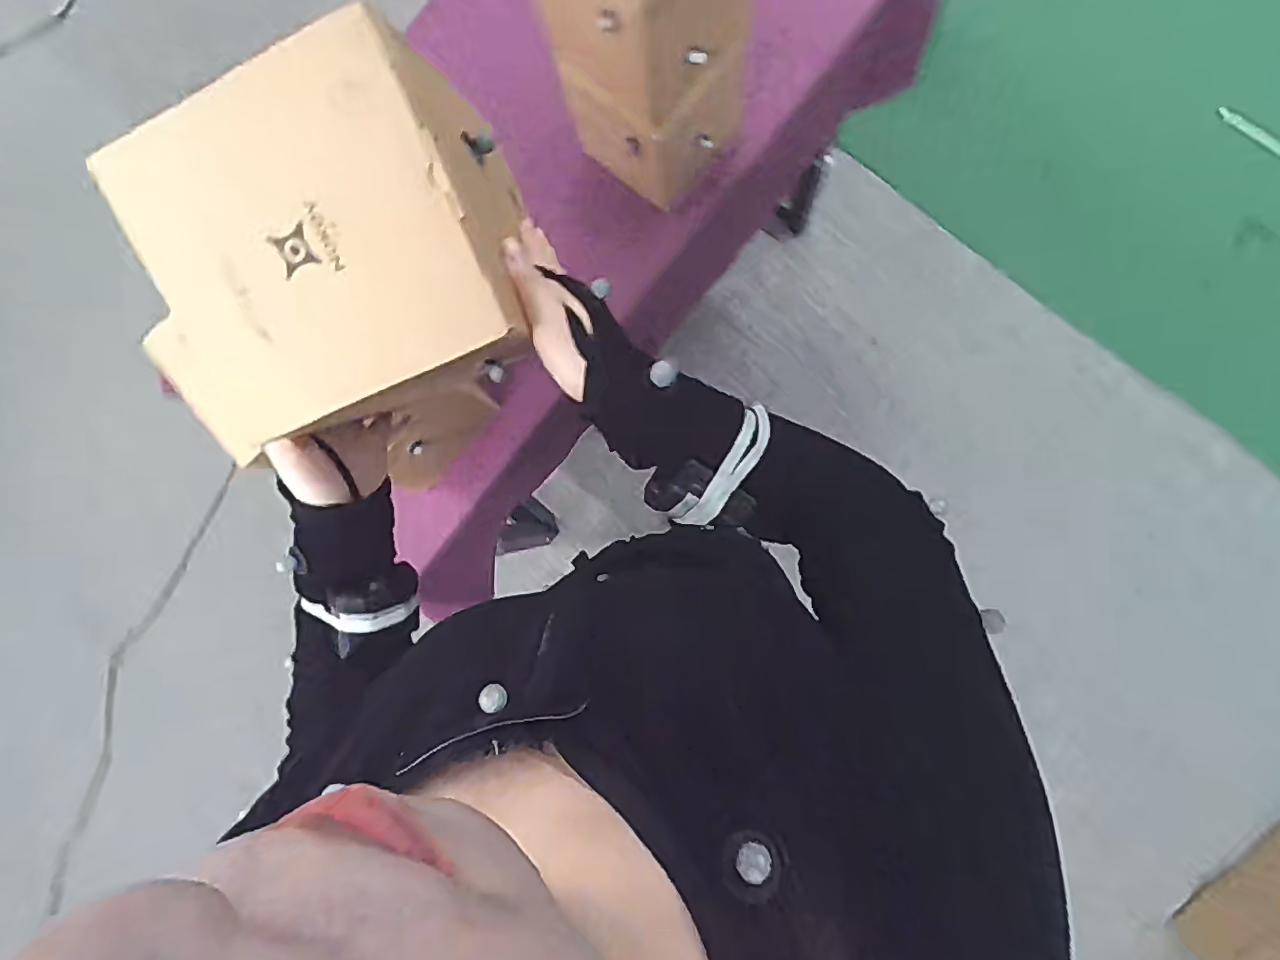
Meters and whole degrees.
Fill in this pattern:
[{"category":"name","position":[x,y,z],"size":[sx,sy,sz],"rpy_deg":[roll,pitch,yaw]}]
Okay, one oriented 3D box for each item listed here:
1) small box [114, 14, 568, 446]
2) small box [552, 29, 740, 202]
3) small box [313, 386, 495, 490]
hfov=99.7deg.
[{"category":"small box","position":[-0.160,-0.140,0.361],"size":[0.179,0.176,0.168],"rpy_deg":[-19,102,10]},{"category":"small box","position":[0.015,-0.520,0.738],"size":[0.179,0.176,0.168],"rpy_deg":[40,92,8]},{"category":"small box","position":[-0.337,-0.101,0.760],"size":[0.168,0.176,0.179],"rpy_deg":[43,91,8]}]
